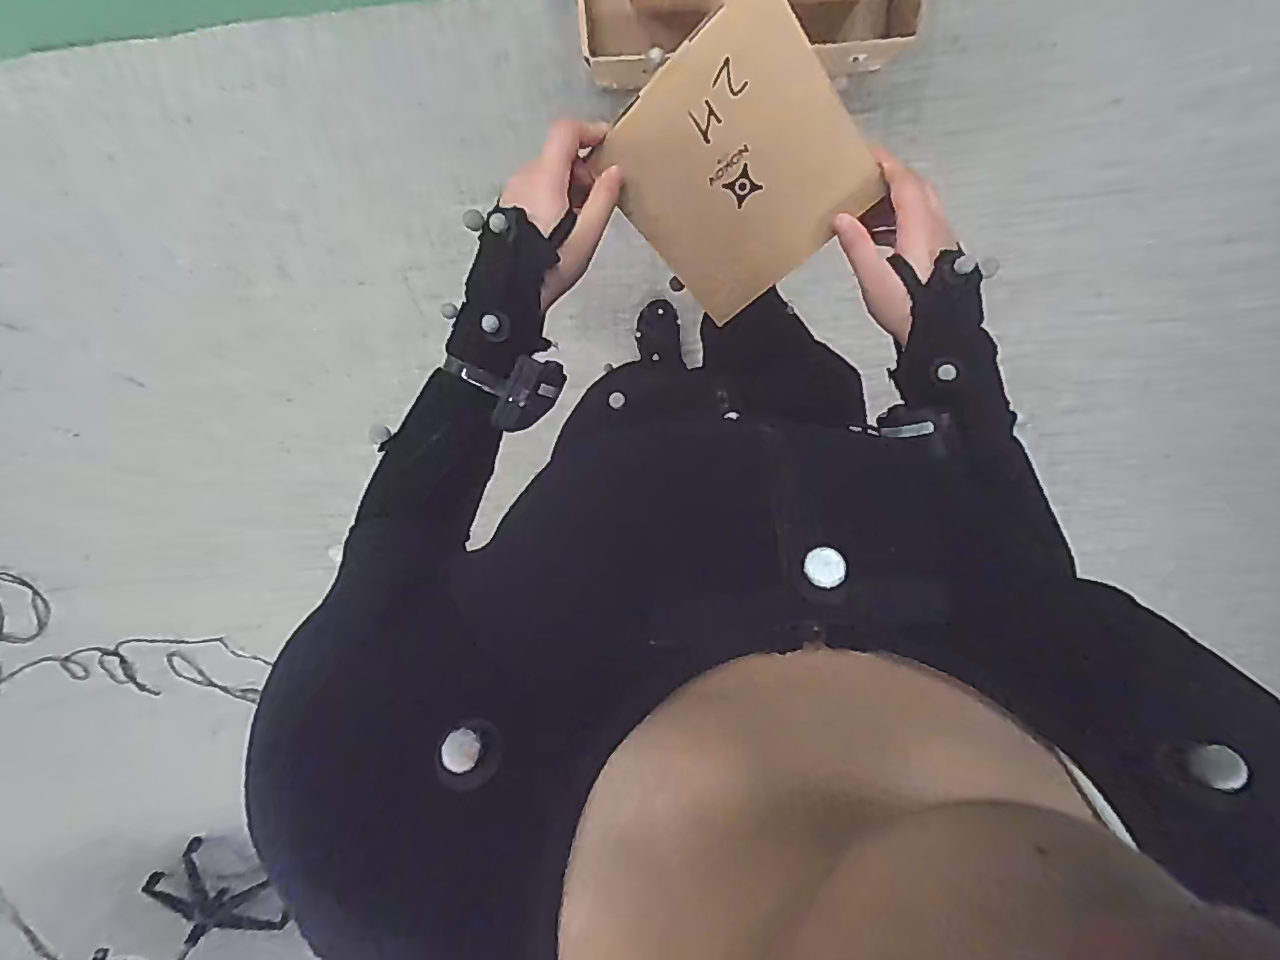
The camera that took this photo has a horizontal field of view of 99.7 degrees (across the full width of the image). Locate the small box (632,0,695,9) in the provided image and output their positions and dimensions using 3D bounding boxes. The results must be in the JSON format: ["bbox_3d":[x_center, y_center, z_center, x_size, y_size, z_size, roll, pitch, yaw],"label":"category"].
[{"bbox_3d":[0.051,-0.975,0.946,0.168,0.176,0.179,-8,116,3],"label":"small box"}]
